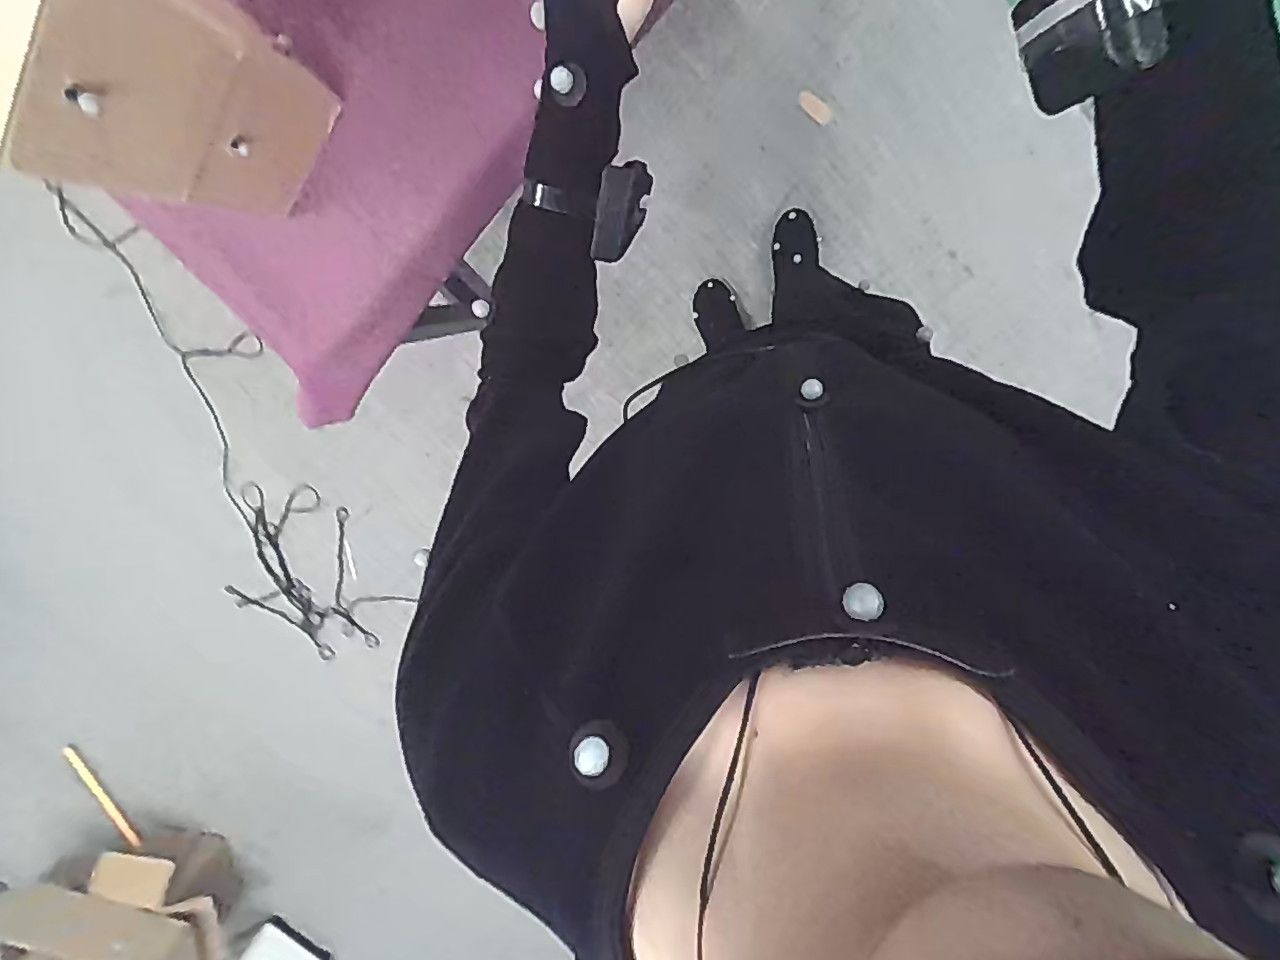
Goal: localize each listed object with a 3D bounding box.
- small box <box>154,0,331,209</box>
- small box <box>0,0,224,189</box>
[{"bbox_3d":[-0.489,-0.432,0.598,0.168,0.176,0.179,41,109,-9],"label":"small box"},{"bbox_3d":[-0.499,-0.378,0.446,0.168,0.176,0.179,39,110,-9],"label":"small box"}]
